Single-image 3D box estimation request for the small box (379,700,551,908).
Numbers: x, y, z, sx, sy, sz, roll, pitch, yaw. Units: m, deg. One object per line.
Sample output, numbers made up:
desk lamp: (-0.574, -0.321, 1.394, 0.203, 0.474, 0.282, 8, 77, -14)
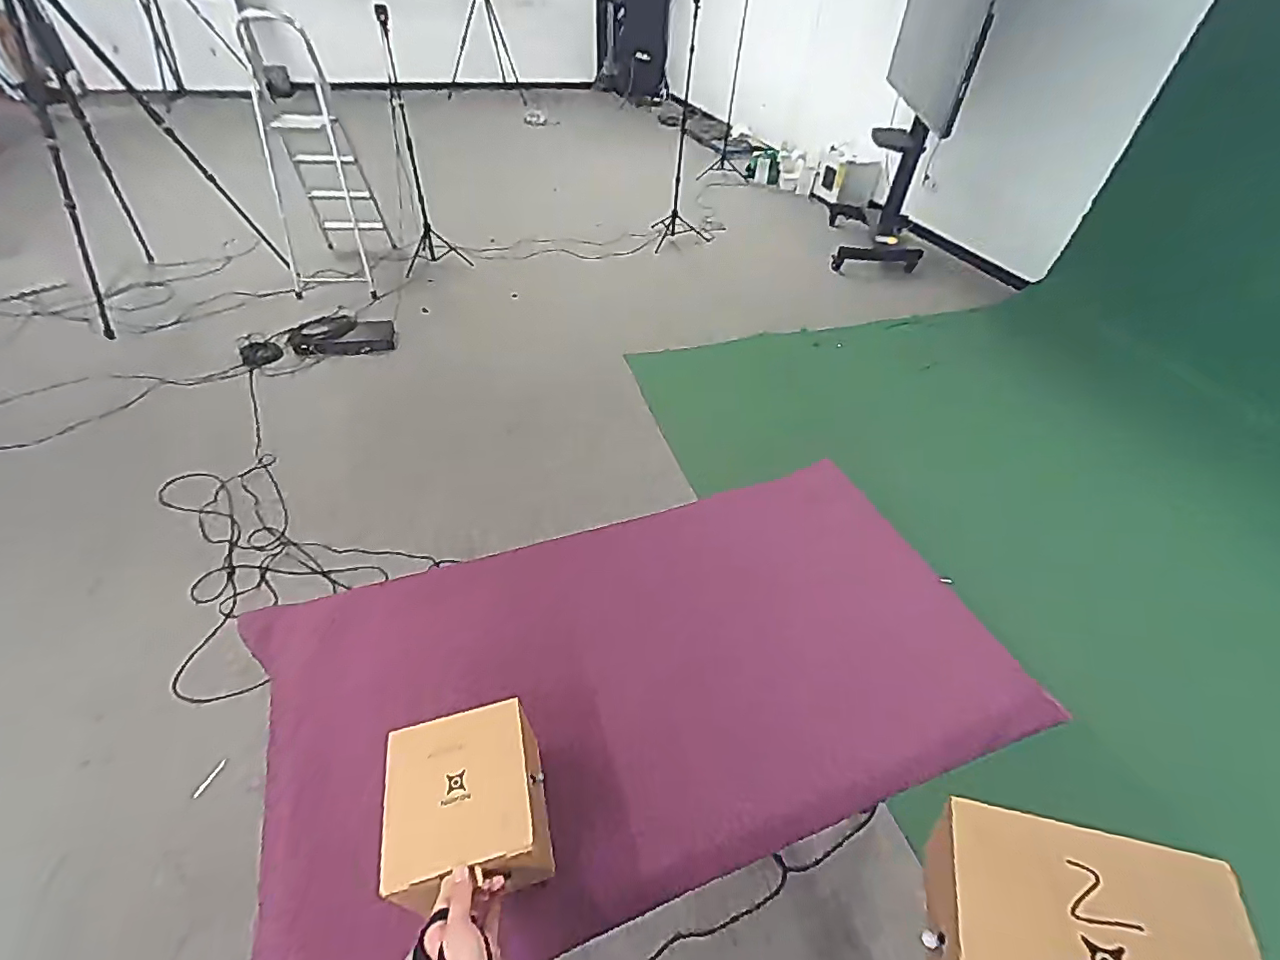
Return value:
small box: (-0.214, 0.418, 0.694, 0.168, 0.176, 0.179, -11, 45, -10)
